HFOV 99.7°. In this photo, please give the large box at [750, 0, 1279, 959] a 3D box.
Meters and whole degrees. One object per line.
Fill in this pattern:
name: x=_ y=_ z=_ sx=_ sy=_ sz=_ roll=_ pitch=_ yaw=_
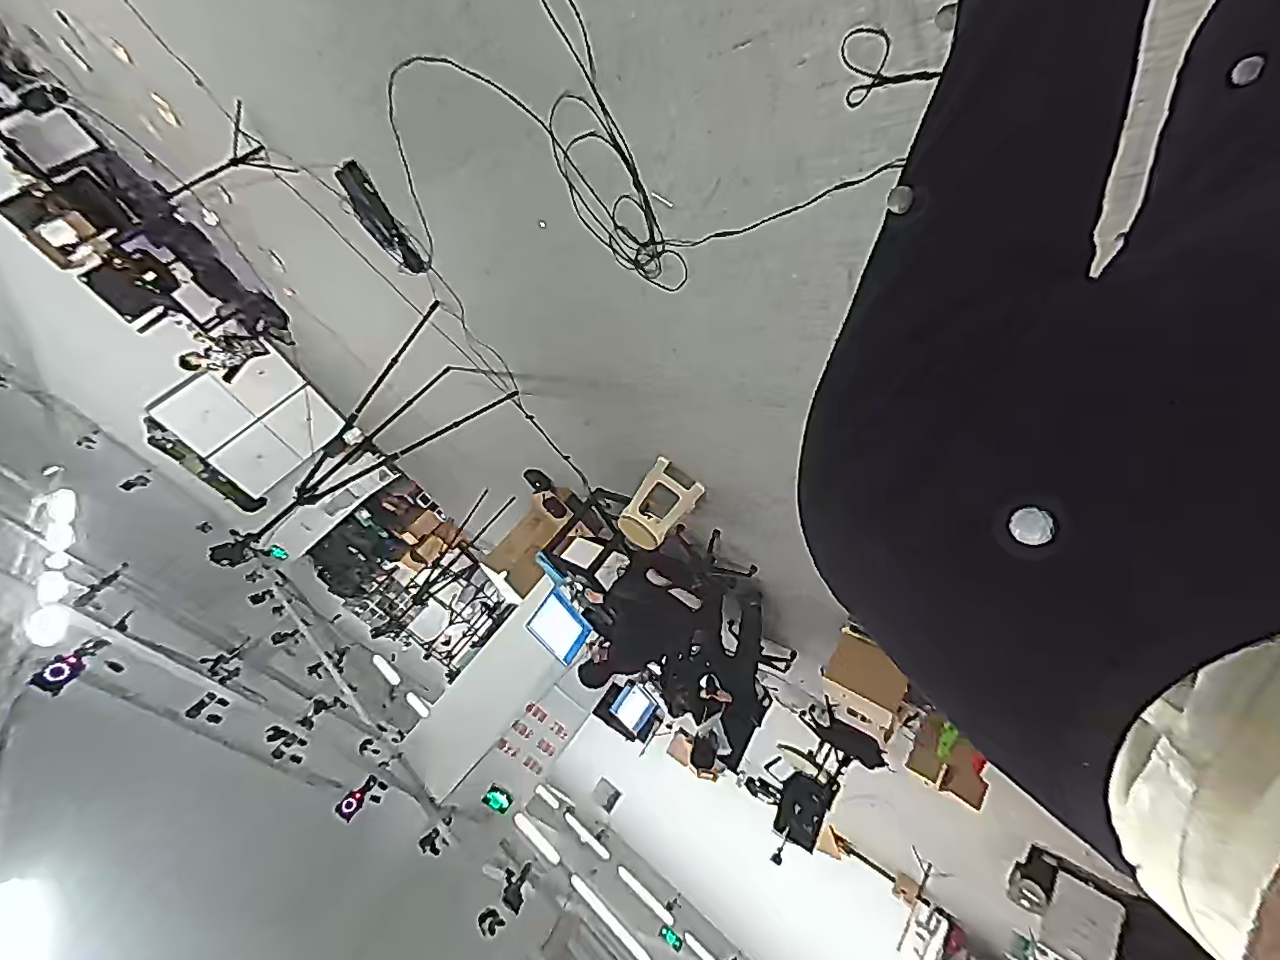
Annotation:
large box: x=0.287 y=-0.020 z=0.187 sx=0.408 sy=0.320 sz=0.320 roll=28 pitch=-173 yaw=9
